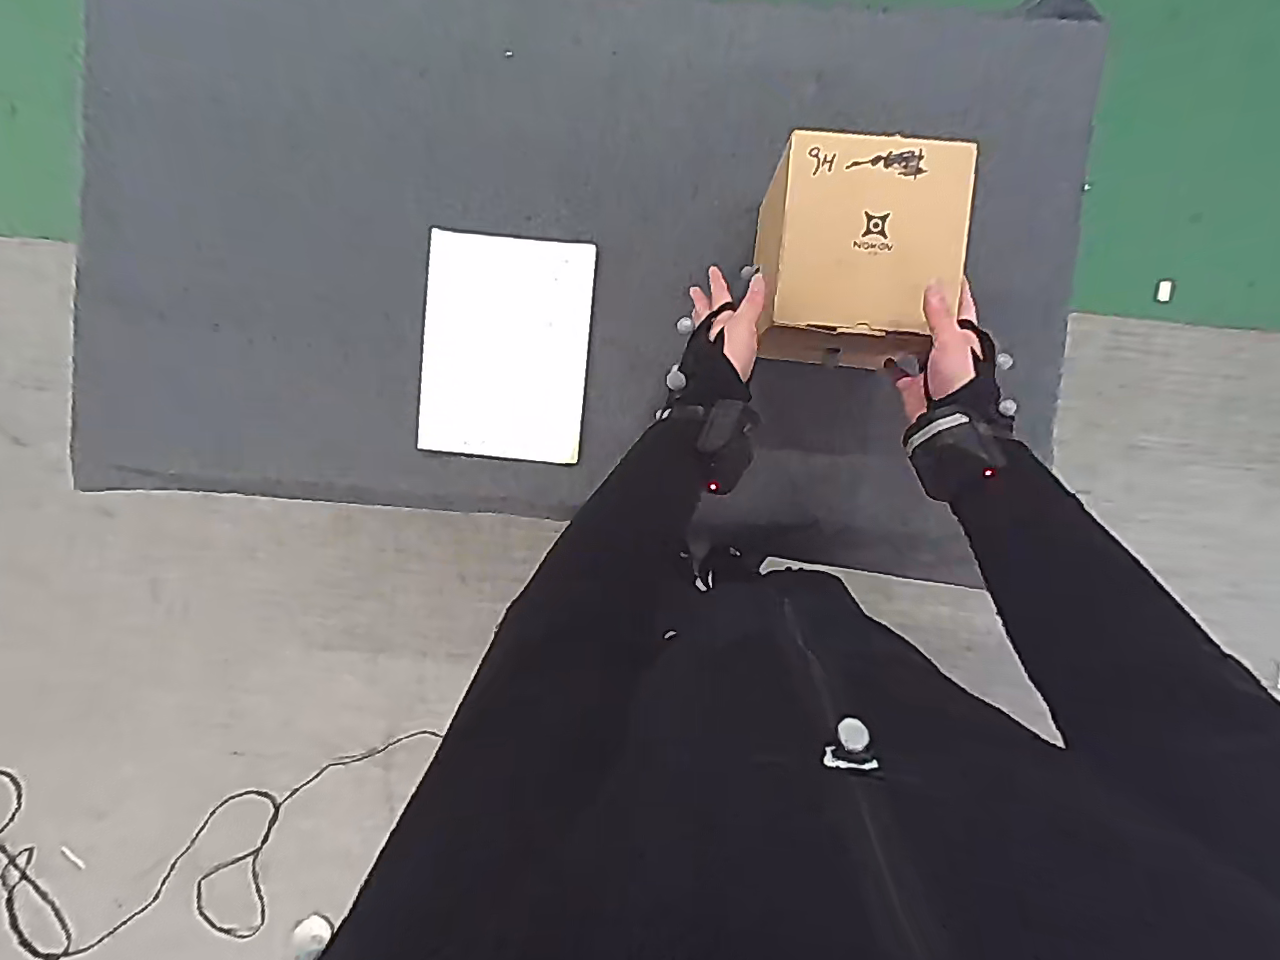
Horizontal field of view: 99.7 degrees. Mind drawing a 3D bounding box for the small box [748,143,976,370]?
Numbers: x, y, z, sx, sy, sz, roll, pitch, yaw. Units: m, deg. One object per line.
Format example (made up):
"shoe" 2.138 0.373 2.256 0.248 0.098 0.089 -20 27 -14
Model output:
"small box" 0.214 -0.217 0.570 0.168 0.176 0.179 5 94 2
